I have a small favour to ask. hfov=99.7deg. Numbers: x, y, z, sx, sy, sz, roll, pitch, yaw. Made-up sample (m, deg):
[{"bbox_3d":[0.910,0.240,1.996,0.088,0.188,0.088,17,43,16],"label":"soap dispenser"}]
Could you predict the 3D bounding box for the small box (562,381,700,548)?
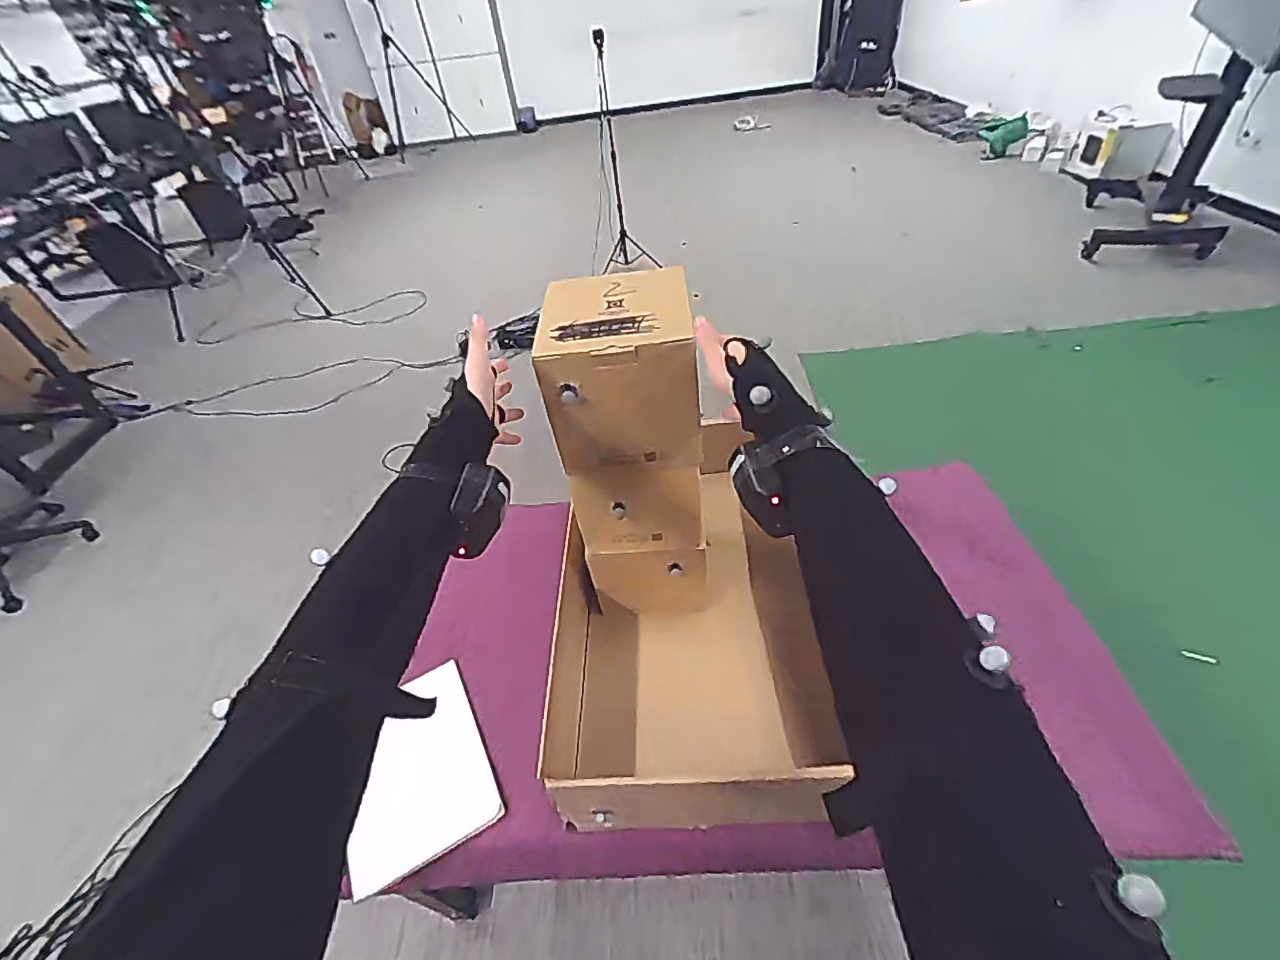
[{"bbox_3d":[-0.003,-0.016,0.766,0.168,0.176,0.179,-4,44,5],"label":"small box"}]
